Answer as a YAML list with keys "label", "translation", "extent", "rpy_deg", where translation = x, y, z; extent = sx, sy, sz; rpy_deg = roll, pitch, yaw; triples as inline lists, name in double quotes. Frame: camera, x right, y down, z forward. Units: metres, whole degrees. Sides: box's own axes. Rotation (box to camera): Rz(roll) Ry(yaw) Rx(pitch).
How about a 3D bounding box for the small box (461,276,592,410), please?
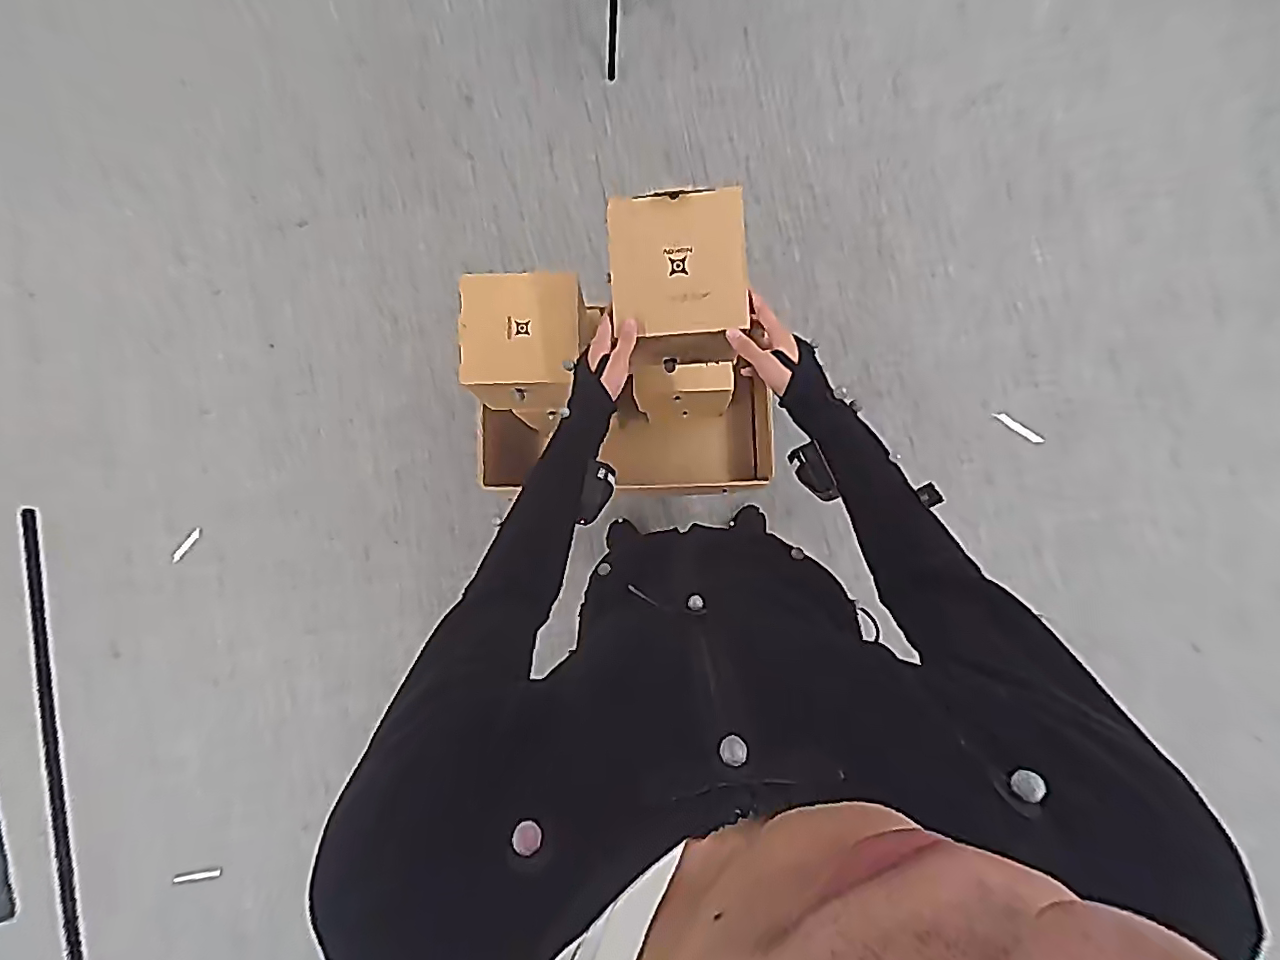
- label: "small box"
  translation: [-0.170, -0.209, 0.859]
  extent: [0.179, 0.176, 0.168]
  rpy_deg: [-1, 85, 2]

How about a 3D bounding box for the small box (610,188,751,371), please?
- label: "small box"
  translation: [0.052, -0.256, 0.728]
  extent: [0.168, 0.176, 0.179]
  rpy_deg: [-4, 88, 4]
